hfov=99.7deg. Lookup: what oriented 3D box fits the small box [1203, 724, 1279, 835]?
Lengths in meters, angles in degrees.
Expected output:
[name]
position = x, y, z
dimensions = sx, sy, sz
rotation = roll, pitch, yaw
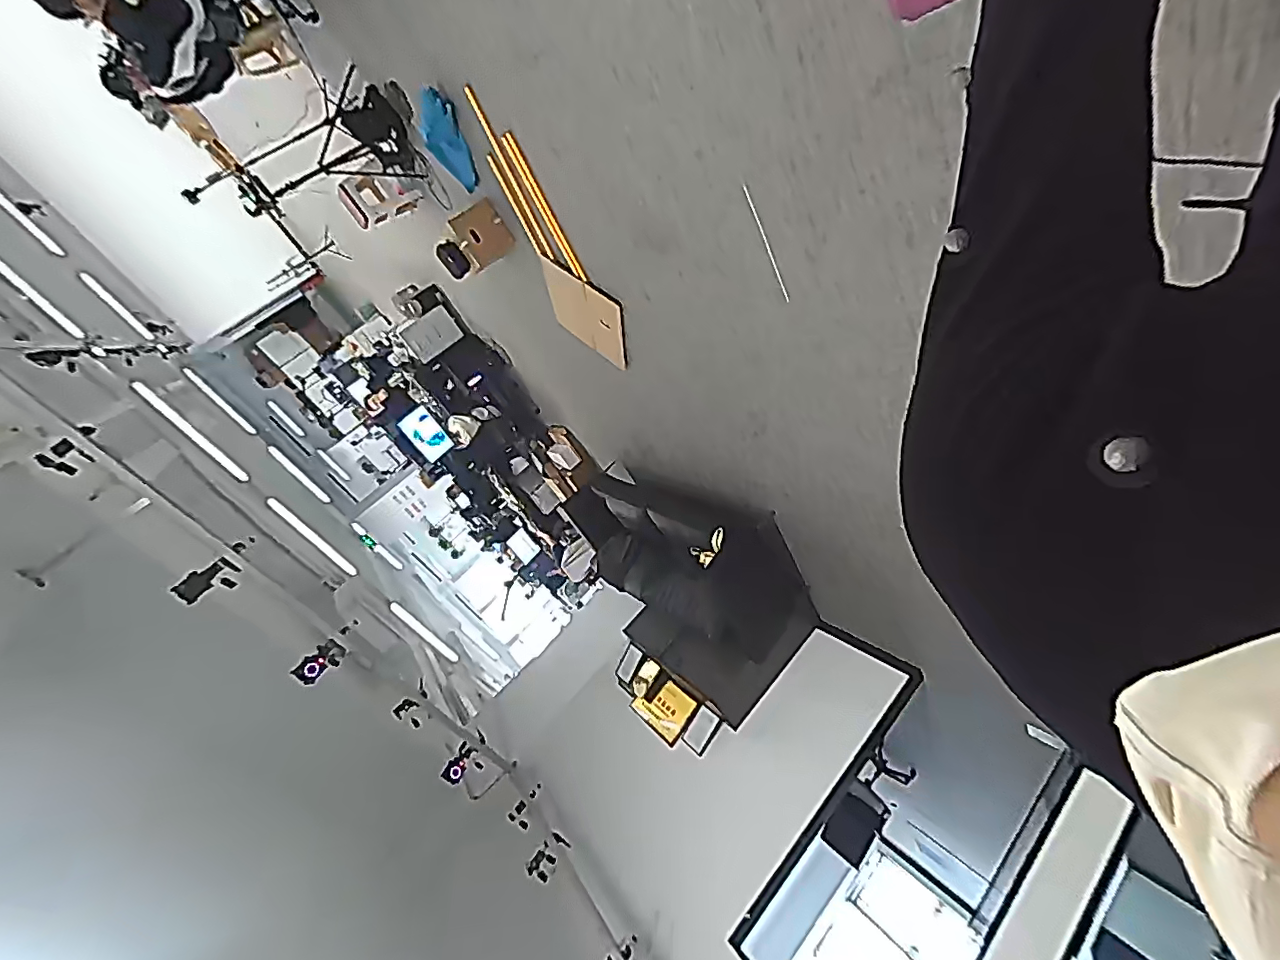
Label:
[small box]
position = 1.563, 0.750, 1.349
dimensions = 0.179, 0.176, 0.168
rotation = 52, 162, -20
